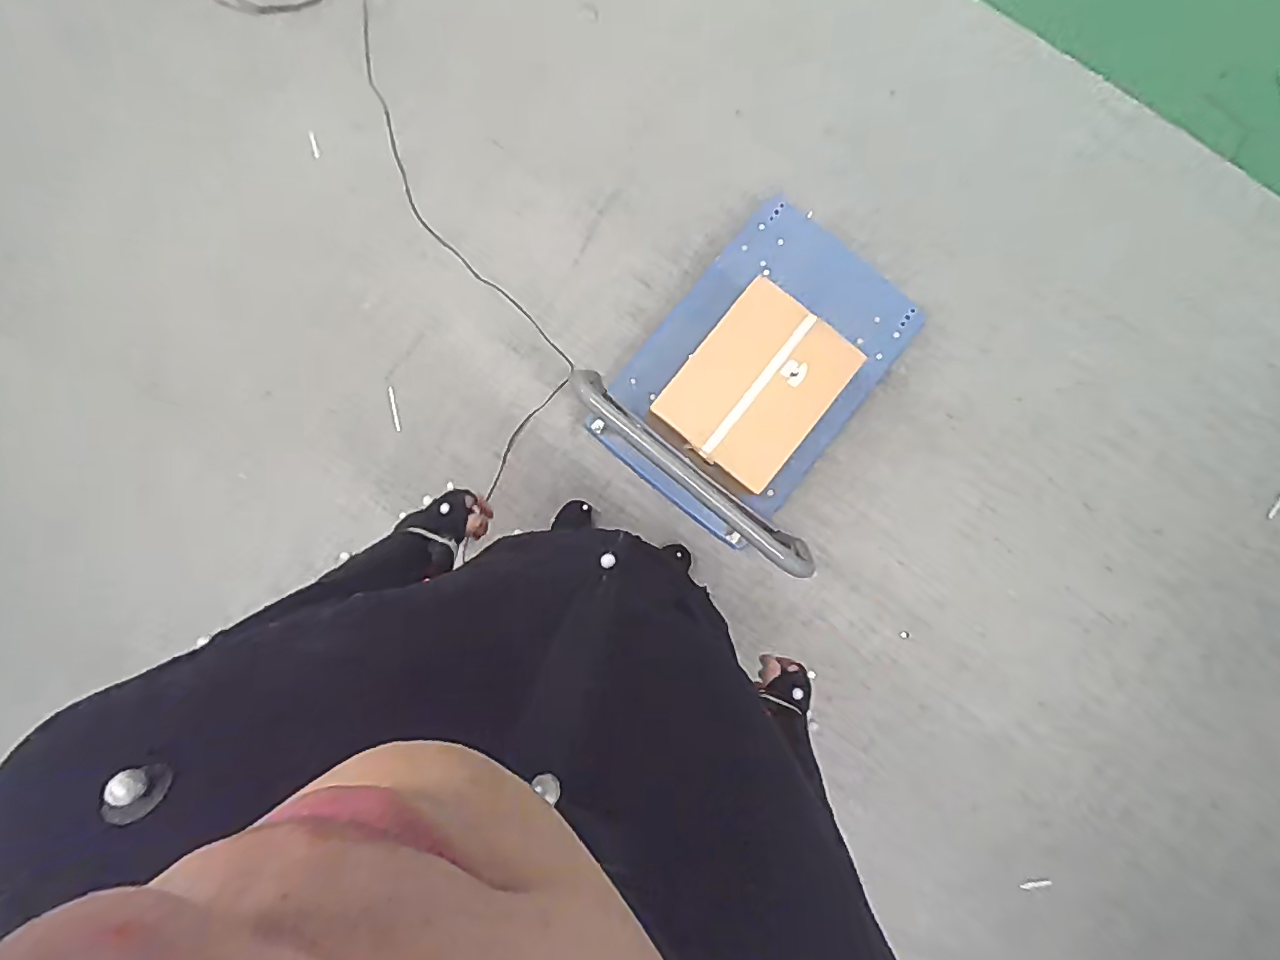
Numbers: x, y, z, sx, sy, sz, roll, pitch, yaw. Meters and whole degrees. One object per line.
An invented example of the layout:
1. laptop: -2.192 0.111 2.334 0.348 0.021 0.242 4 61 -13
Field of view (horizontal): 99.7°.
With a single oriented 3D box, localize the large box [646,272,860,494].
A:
1. large box: 0.255 -0.216 1.358 0.320 0.320 0.408 39 86 0
